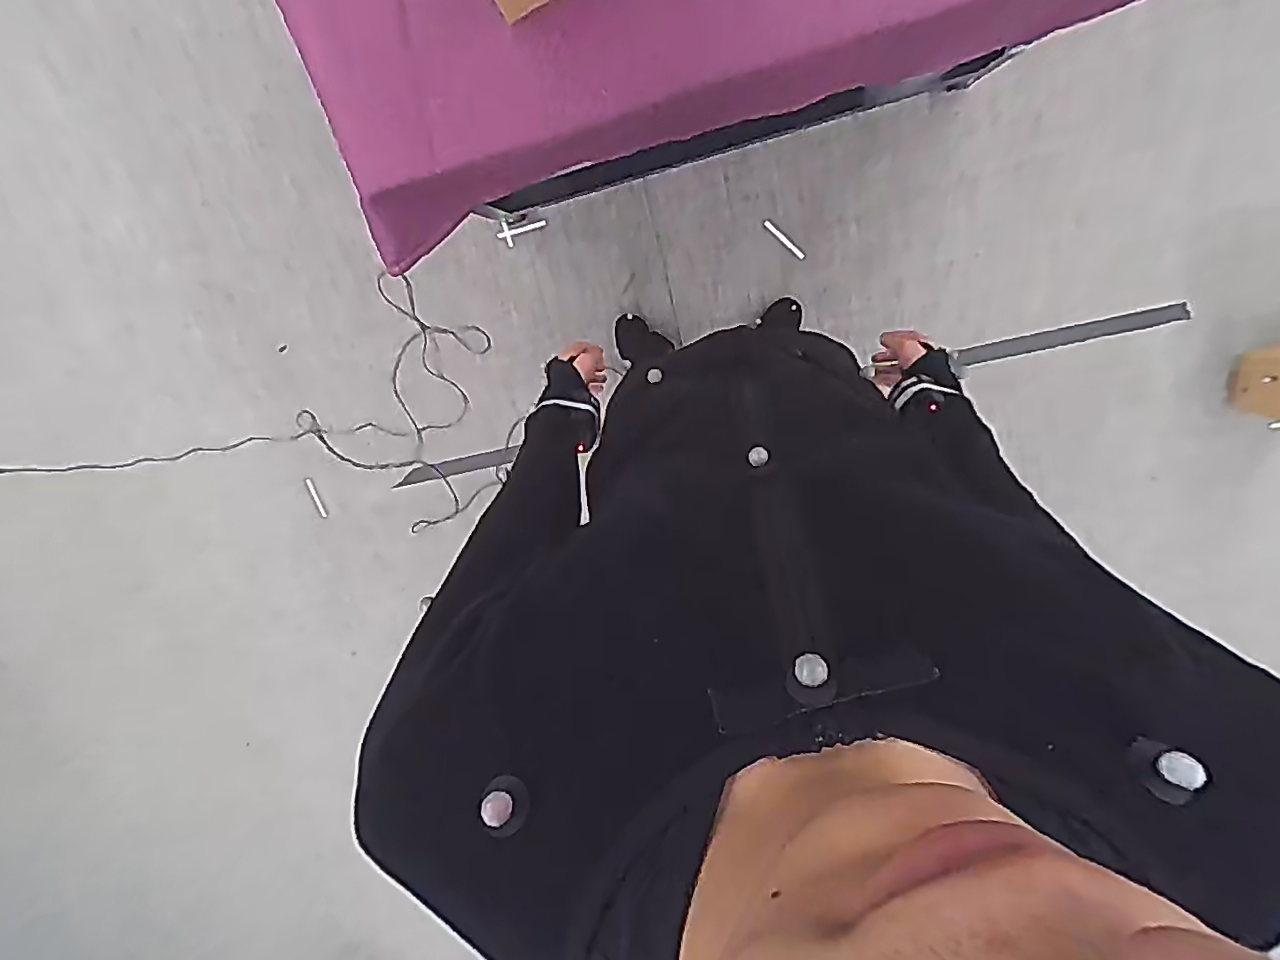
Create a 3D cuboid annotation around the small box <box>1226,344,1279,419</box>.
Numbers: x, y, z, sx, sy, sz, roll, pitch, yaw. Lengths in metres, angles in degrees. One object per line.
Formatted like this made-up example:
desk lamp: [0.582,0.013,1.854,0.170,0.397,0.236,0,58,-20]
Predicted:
small box: [1.712,-0.260,1.413,0.179,0.176,0.168,-9,110,6]
